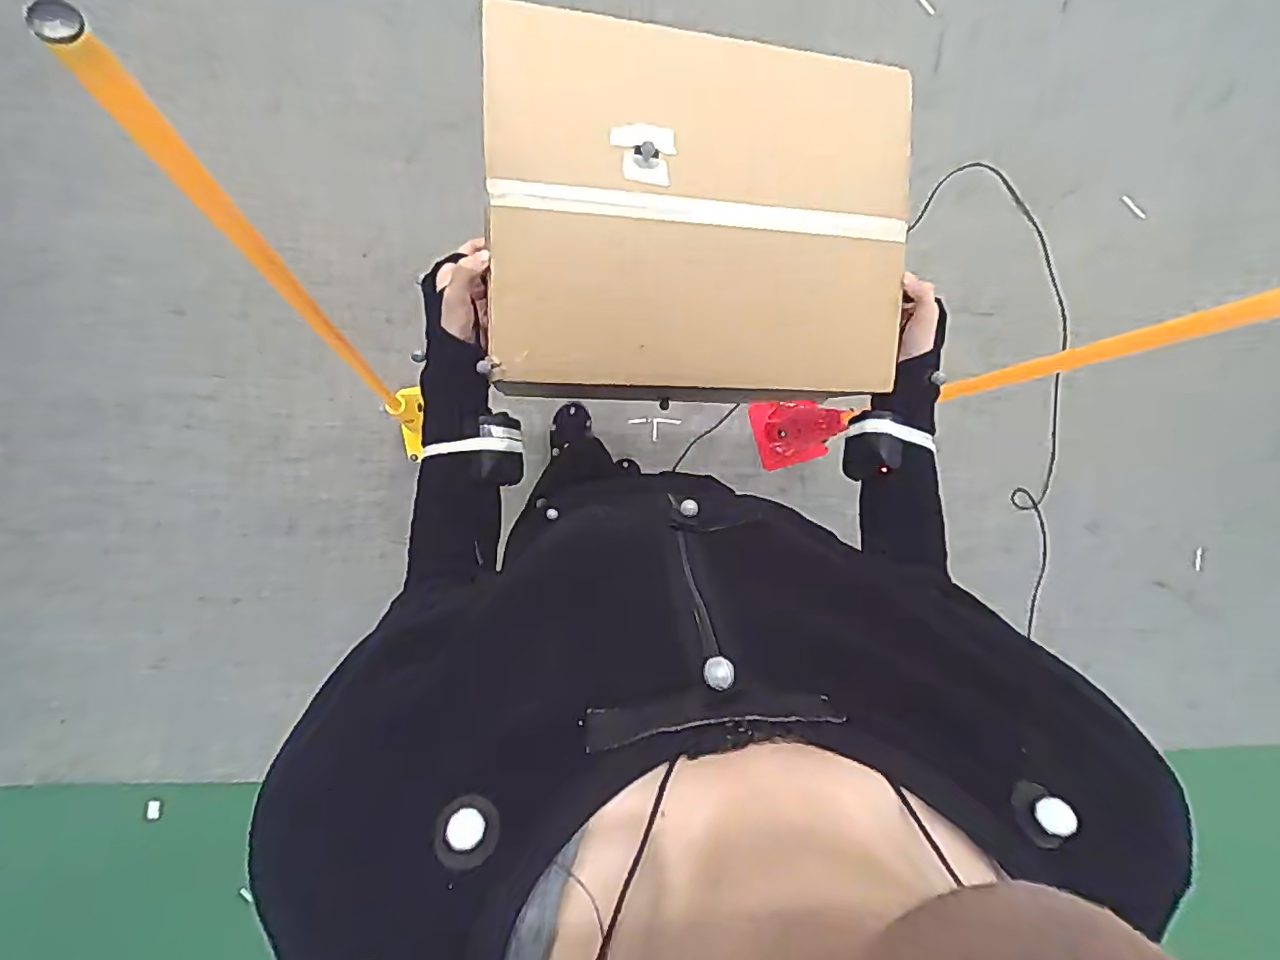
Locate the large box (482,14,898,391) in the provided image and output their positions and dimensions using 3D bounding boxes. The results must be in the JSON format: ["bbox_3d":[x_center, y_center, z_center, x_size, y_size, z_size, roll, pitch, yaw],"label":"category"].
[{"bbox_3d":[0.033,-0.267,0.658,0.408,0.320,0.320,0,96,-11],"label":"large box"}]
